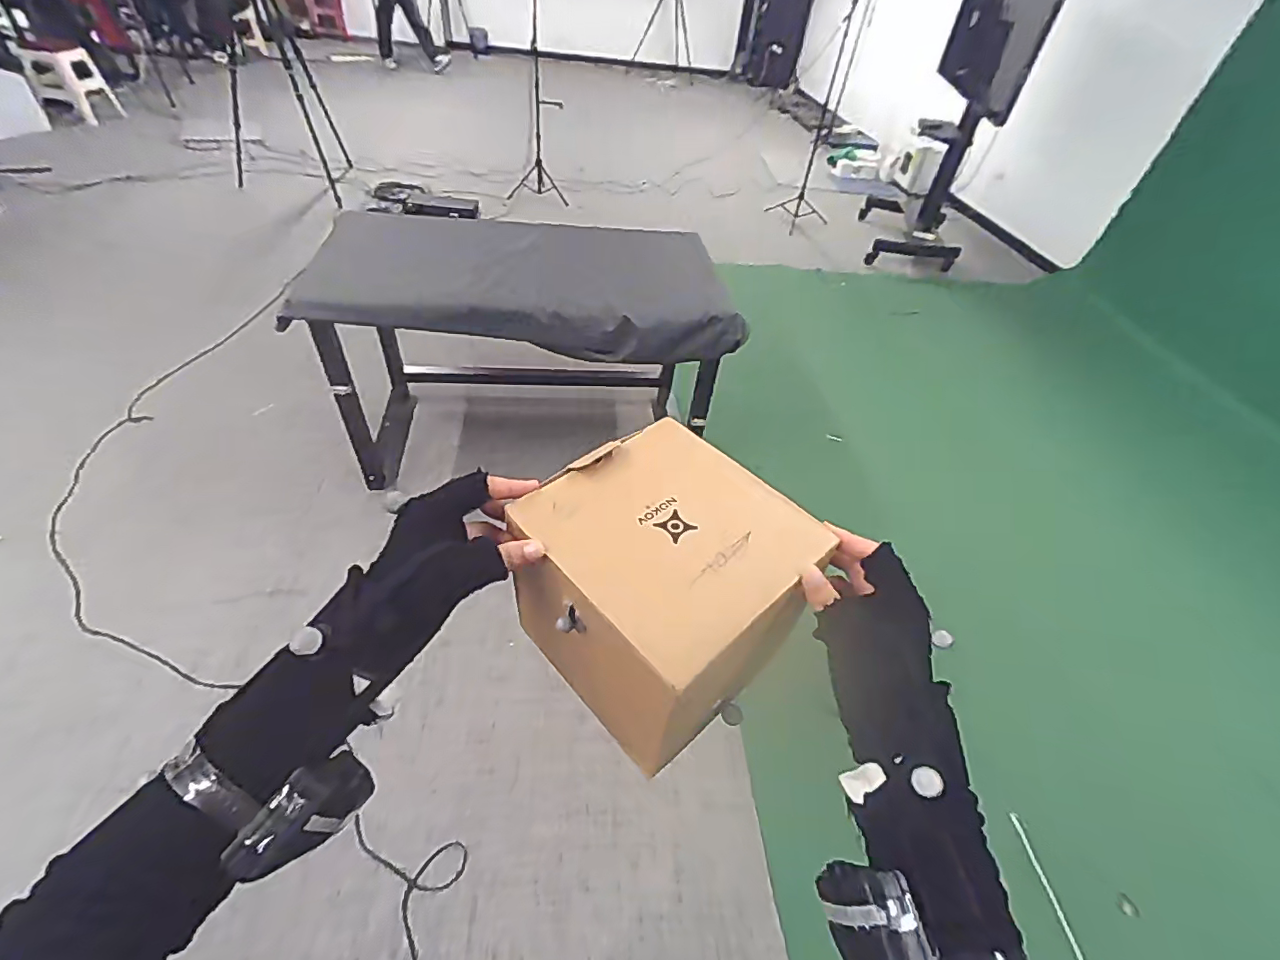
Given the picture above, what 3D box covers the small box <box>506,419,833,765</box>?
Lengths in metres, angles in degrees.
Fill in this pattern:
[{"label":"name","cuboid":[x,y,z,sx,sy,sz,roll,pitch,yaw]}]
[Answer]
[{"label":"small box","cuboid":[0.013,0.087,0.435,0.168,0.176,0.179,-32,57,-31]}]
